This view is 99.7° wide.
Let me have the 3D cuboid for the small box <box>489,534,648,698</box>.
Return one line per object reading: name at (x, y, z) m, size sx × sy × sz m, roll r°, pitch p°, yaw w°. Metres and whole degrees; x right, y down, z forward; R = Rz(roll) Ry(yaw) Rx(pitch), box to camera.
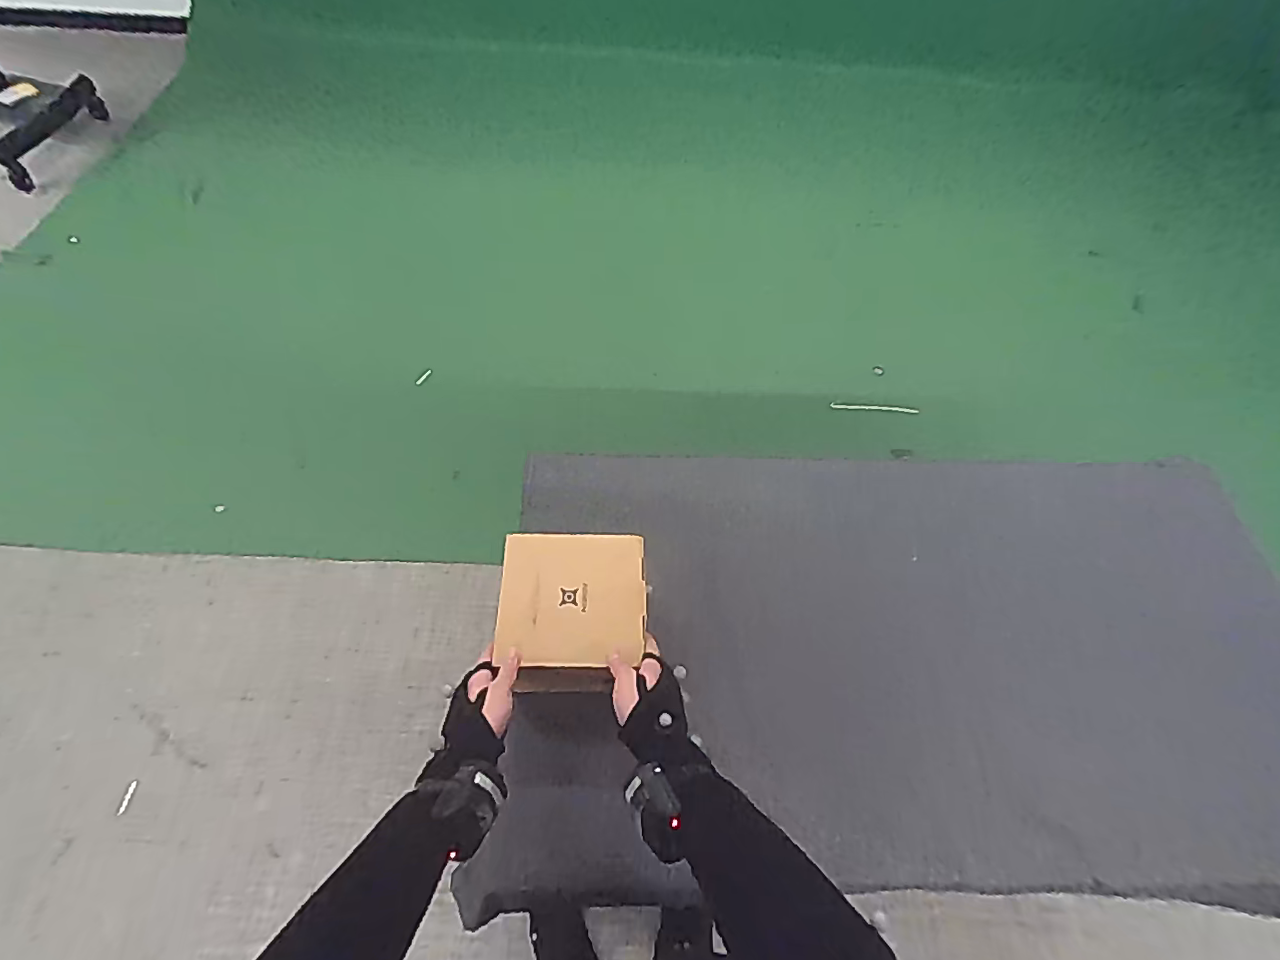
small box at (-0.084, 0.181, 0.703) m, size 0.179 × 0.176 × 0.168 m, roll 1°, pitch 58°, yaw -3°
